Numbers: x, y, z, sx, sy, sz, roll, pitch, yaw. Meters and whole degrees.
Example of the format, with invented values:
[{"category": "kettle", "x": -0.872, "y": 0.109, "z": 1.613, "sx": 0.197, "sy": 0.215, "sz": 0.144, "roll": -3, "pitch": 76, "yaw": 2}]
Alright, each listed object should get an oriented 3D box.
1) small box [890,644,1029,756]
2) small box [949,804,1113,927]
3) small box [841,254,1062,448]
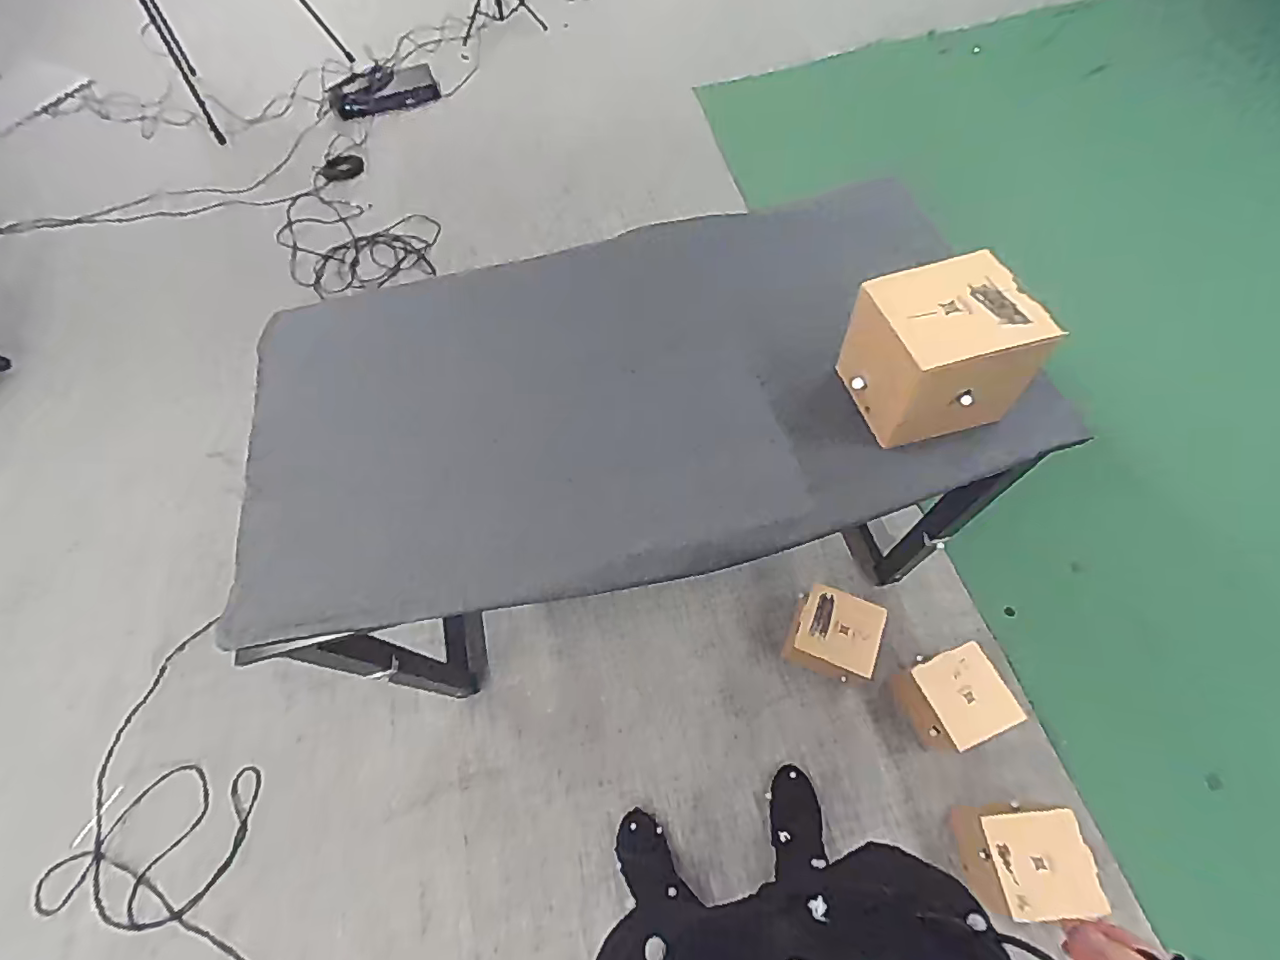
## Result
[{"category": "small box", "x": 0.693, "y": 0.487, "z": 1.196, "sx": 0.168, "sy": 0.176, "sz": 0.179, "roll": -21, "pitch": 63, "yaw": -6}, {"category": "small box", "x": 0.750, "y": 0.744, "z": 1.060, "sx": 0.179, "sy": 0.176, "sz": 0.168, "roll": -6, "pitch": 63, "yaw": 2}, {"category": "small box", "x": 0.399, "y": -0.167, "z": 0.733, "sx": 0.179, "sy": 0.176, "sz": 0.168, "roll": -14, "pitch": 59, "yaw": 0}]
